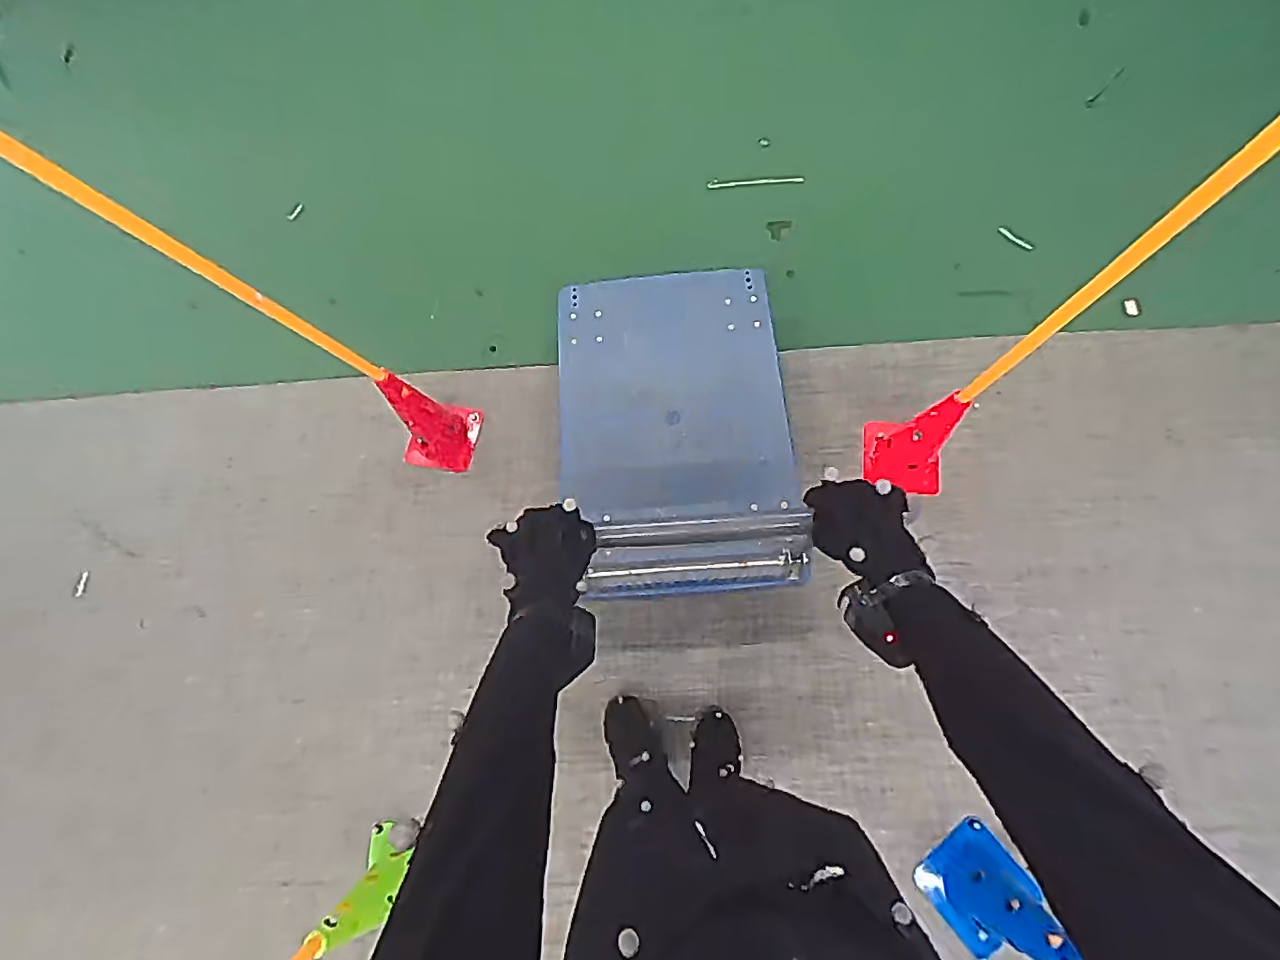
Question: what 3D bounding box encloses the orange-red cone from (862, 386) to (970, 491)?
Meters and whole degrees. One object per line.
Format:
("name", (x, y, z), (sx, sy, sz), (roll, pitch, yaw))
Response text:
("orange-red cone", (0.689, -0.124, 1.296), (0.198, 0.360, 0.199), (8, 73, 8))
